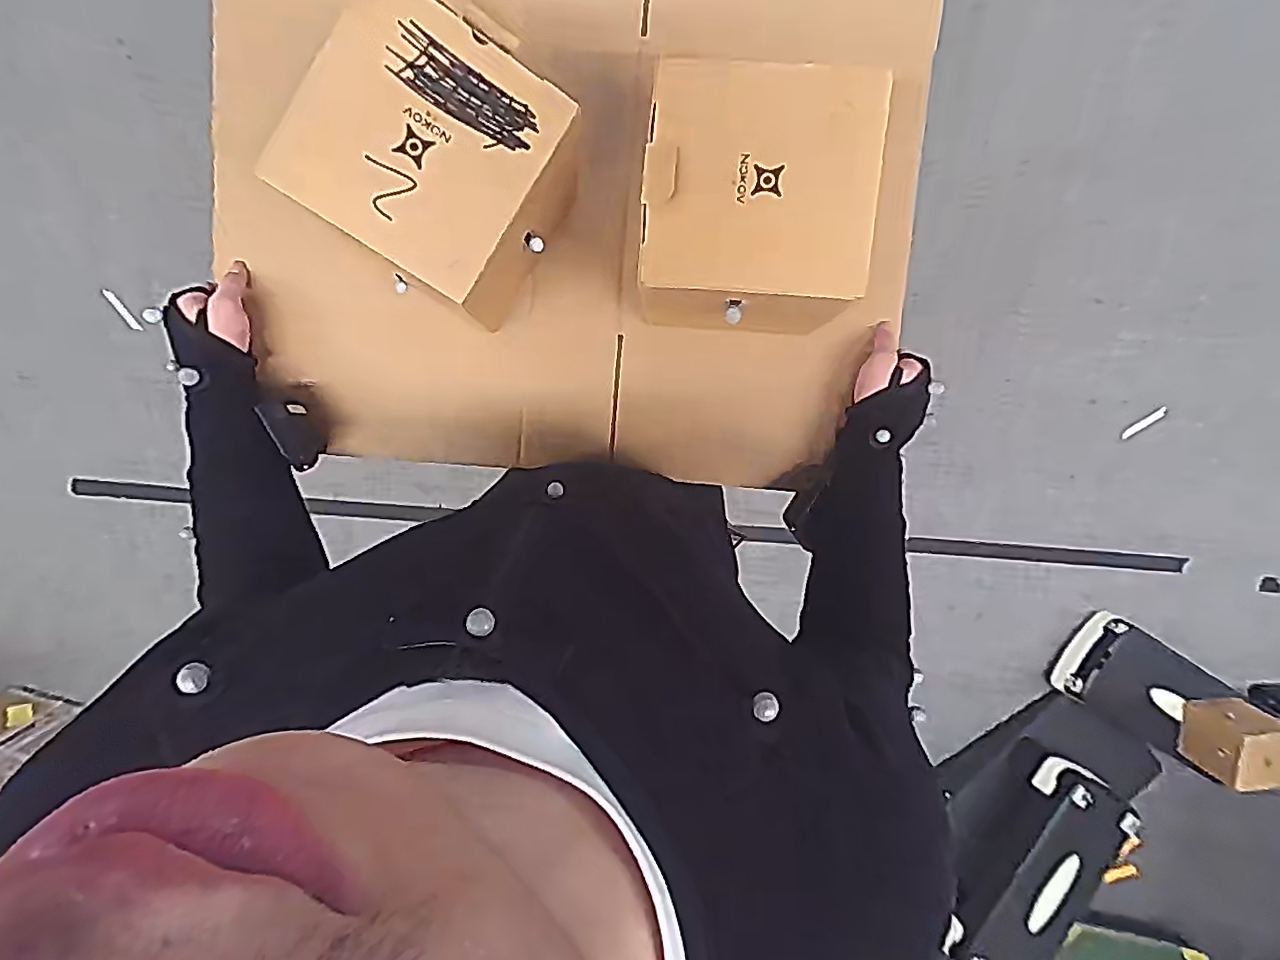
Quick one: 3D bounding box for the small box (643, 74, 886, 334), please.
[{"bbox_3d":[0.101,-0.236,0.504,0.179,0.176,0.168,5,95,4],"label":"small box"}]
